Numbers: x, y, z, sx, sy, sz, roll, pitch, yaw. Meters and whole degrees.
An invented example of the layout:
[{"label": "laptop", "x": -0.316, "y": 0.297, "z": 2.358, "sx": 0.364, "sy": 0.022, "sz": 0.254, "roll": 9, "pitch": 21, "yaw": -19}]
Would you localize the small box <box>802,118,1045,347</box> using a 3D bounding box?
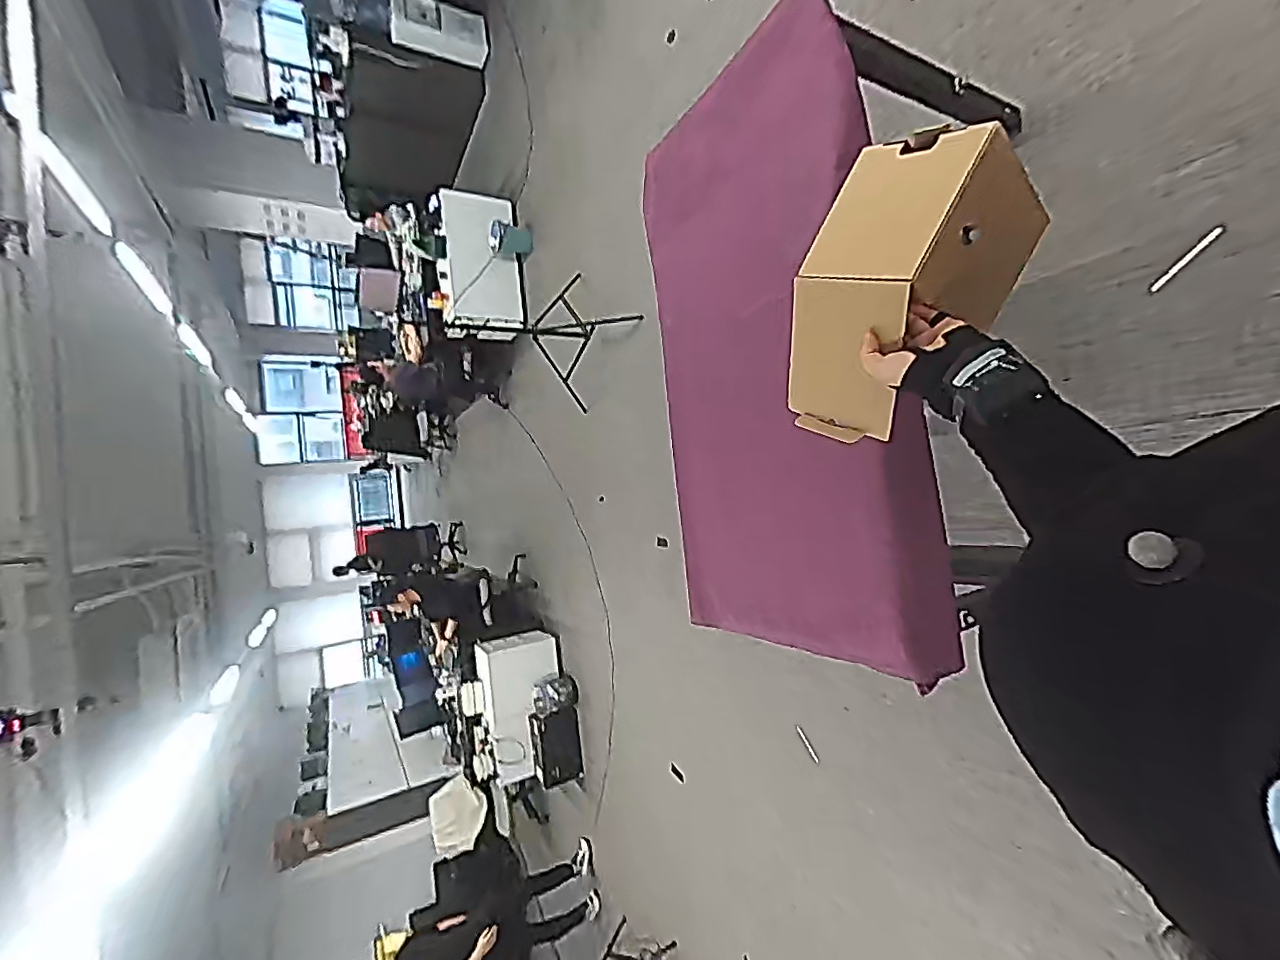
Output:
[{"label": "small box", "x": 0.338, "y": -0.280, "z": 0.647, "sx": 0.168, "sy": 0.176, "sz": 0.179, "roll": 36, "pitch": 99, "yaw": 54}]
